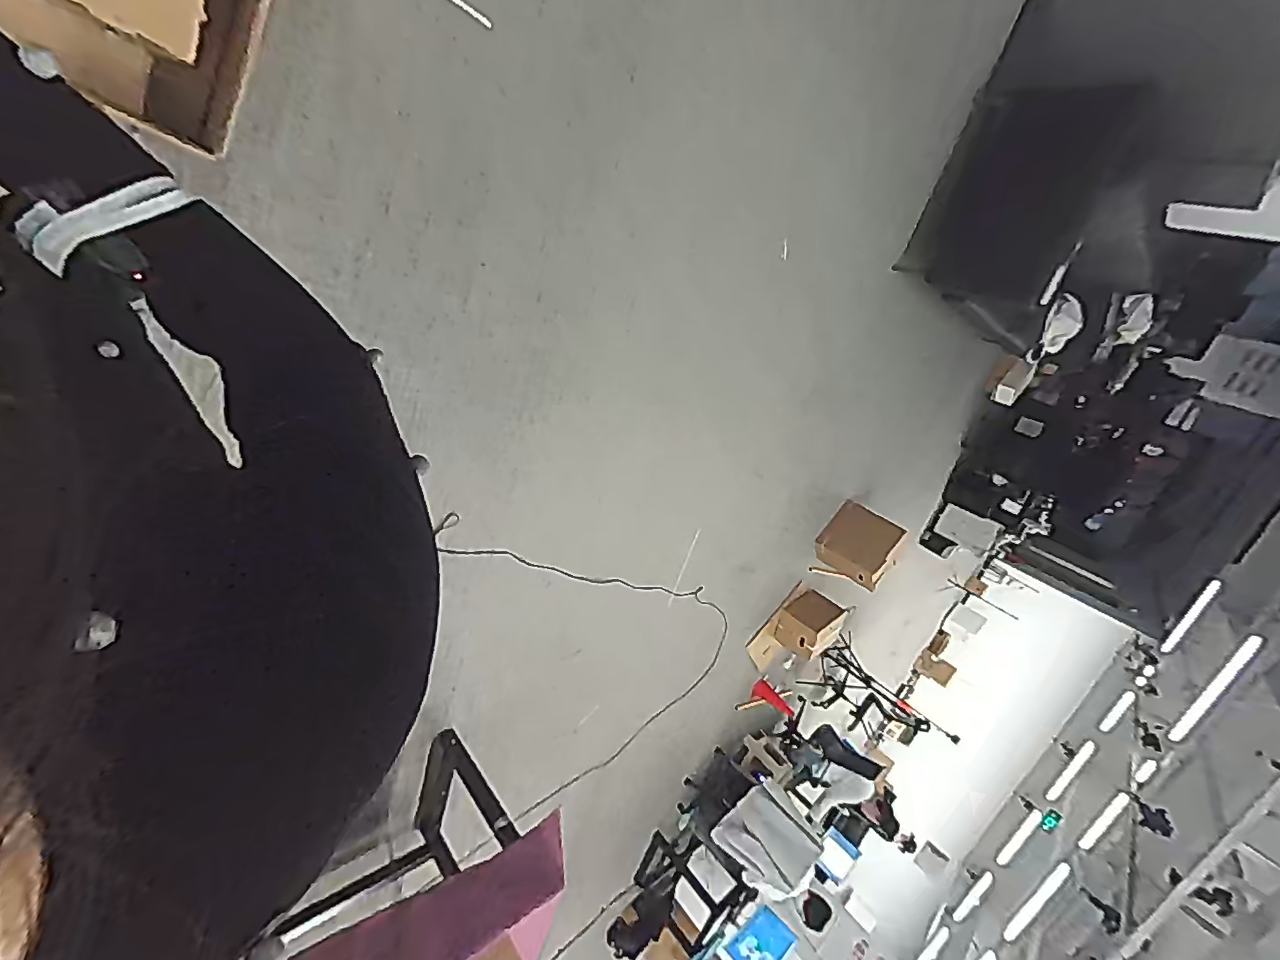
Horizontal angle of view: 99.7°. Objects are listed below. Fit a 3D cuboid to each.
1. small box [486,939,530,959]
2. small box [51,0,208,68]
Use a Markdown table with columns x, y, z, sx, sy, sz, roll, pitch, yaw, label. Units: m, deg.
| x | y | z | sx | sy | sz | roll | pitch | yaw | label |
| --- | --- | --- | --- | --- | --- | --- | --- | --- | --- |
| -0.391 | 1.448 | 1.500 | 0.179 | 0.176 | 0.168 | -1 | 118 | -46 | small box |
| -0.694 | -0.698 | 0.728 | 0.168 | 0.176 | 0.179 | 6 | 113 | -48 | small box |
